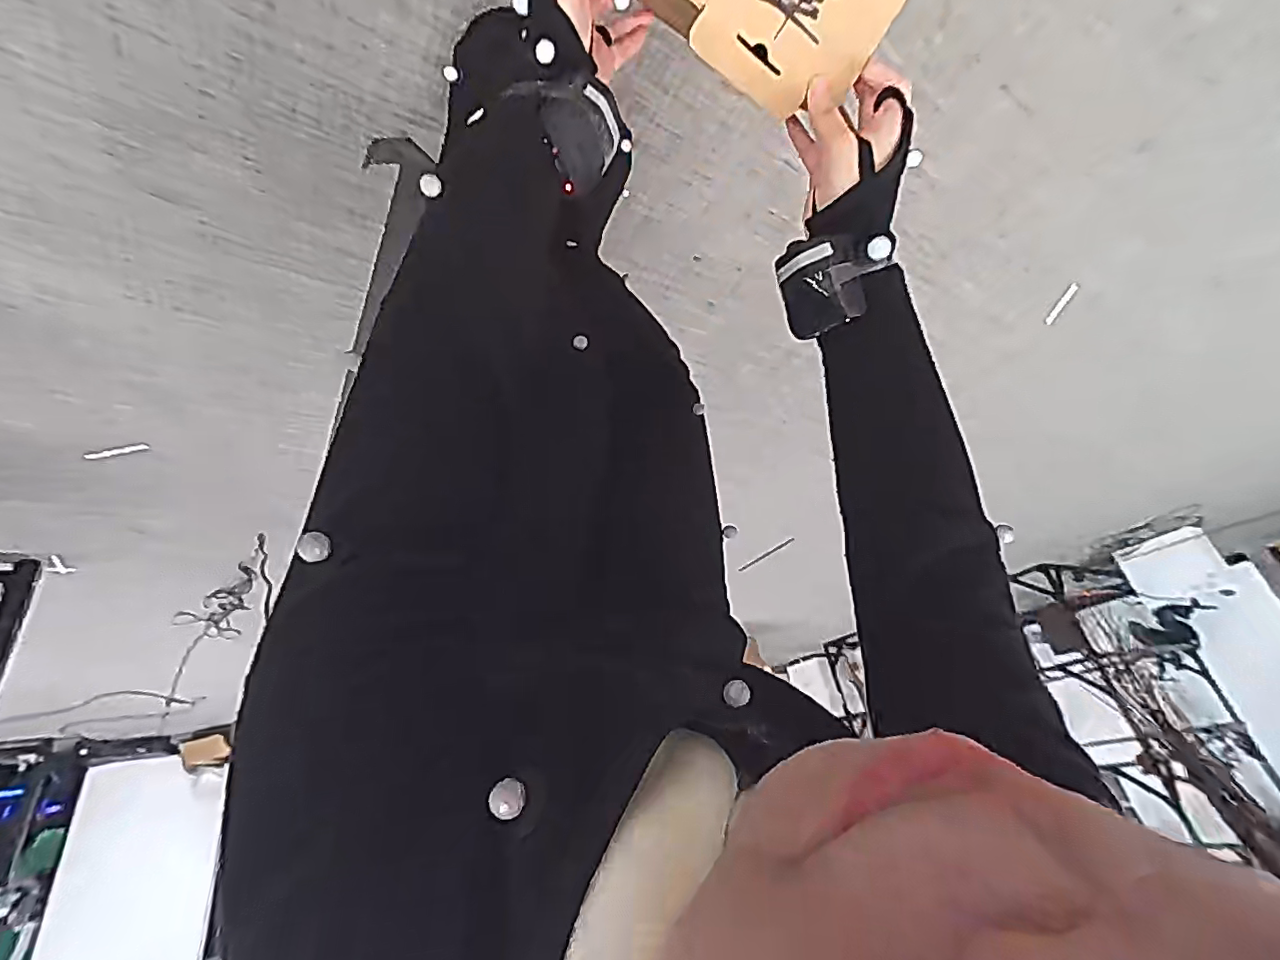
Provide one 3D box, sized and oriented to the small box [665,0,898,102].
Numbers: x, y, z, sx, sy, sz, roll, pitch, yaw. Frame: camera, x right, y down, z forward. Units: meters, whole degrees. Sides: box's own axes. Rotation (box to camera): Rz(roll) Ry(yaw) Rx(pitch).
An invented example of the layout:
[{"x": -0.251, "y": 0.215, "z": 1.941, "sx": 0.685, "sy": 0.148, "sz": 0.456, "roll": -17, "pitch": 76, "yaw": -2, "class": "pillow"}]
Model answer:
[{"x": 0.089, "y": -0.403, "z": 0.357, "sx": 0.168, "sy": 0.176, "sz": 0.179, "roll": 8, "pitch": 129, "yaw": -37, "class": "small box"}]
